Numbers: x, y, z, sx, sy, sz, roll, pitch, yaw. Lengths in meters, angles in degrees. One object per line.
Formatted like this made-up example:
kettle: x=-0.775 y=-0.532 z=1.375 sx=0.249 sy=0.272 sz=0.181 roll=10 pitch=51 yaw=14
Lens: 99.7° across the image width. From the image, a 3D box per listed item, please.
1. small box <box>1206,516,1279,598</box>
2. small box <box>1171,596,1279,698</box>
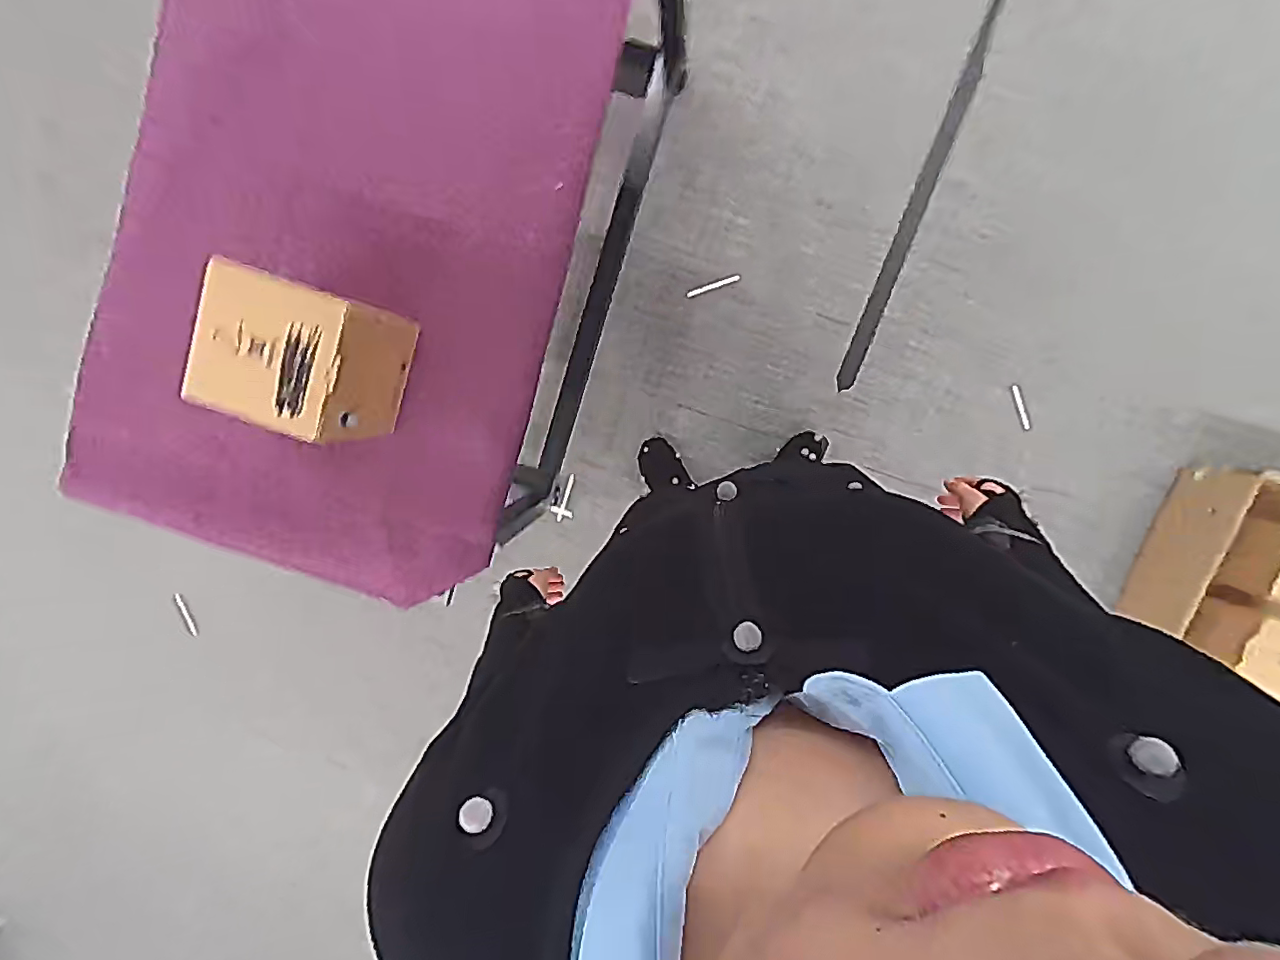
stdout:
small box: x=1.524 y=0.194 z=1.279 sx=0.179 sy=0.176 sz=0.168 roll=16 pitch=100 yaw=3
small box: x=1.479 y=0.404 z=1.312 sx=0.179 sy=0.176 sz=0.168 roll=23 pitch=98 yaw=2
